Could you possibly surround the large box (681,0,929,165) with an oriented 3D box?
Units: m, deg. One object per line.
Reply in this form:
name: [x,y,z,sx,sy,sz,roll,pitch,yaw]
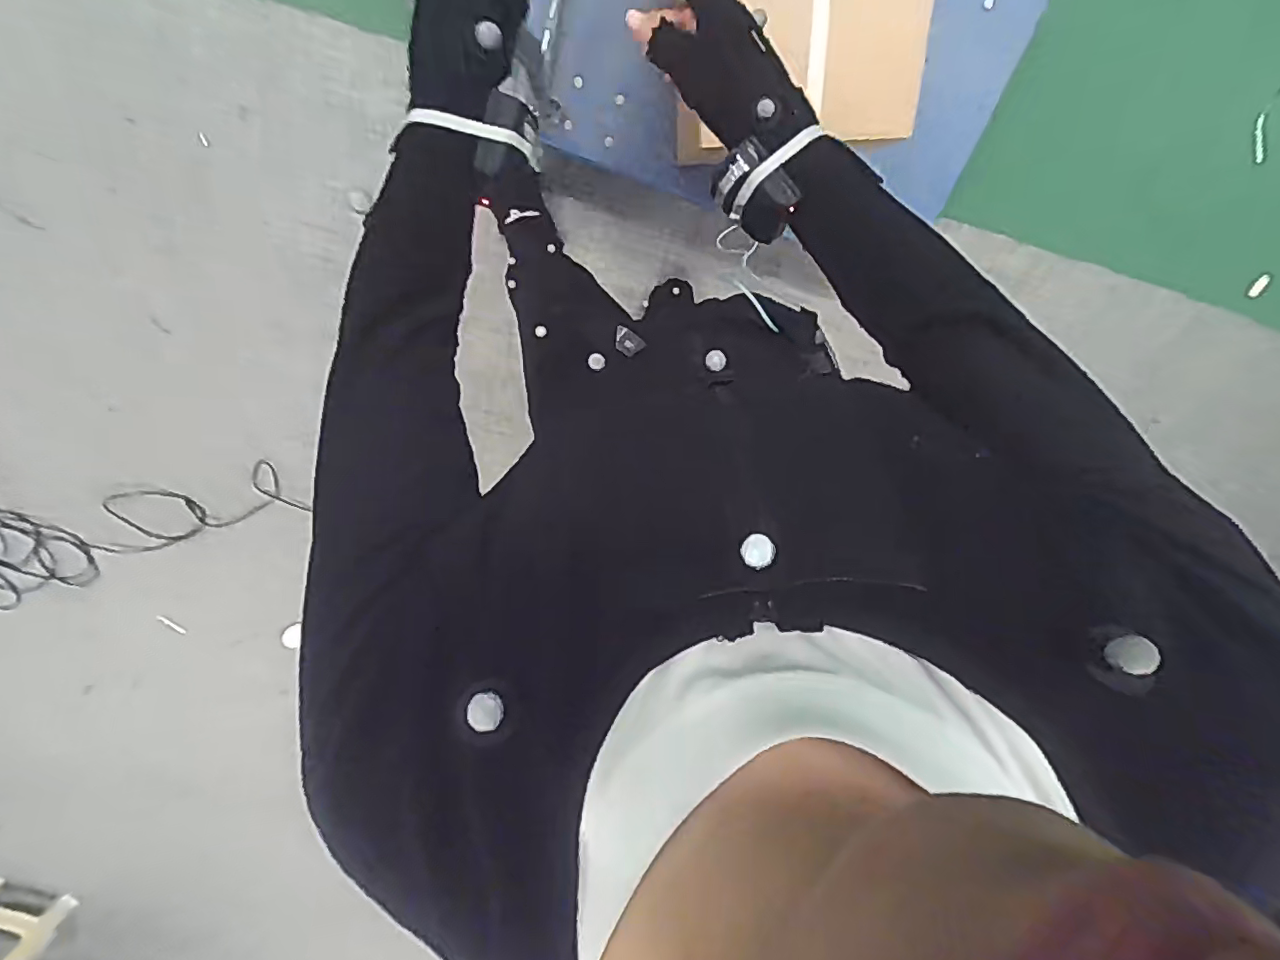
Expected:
large box: [0.227,-0.736,0.832,0.320,0.320,0.408,-3,116,-2]
